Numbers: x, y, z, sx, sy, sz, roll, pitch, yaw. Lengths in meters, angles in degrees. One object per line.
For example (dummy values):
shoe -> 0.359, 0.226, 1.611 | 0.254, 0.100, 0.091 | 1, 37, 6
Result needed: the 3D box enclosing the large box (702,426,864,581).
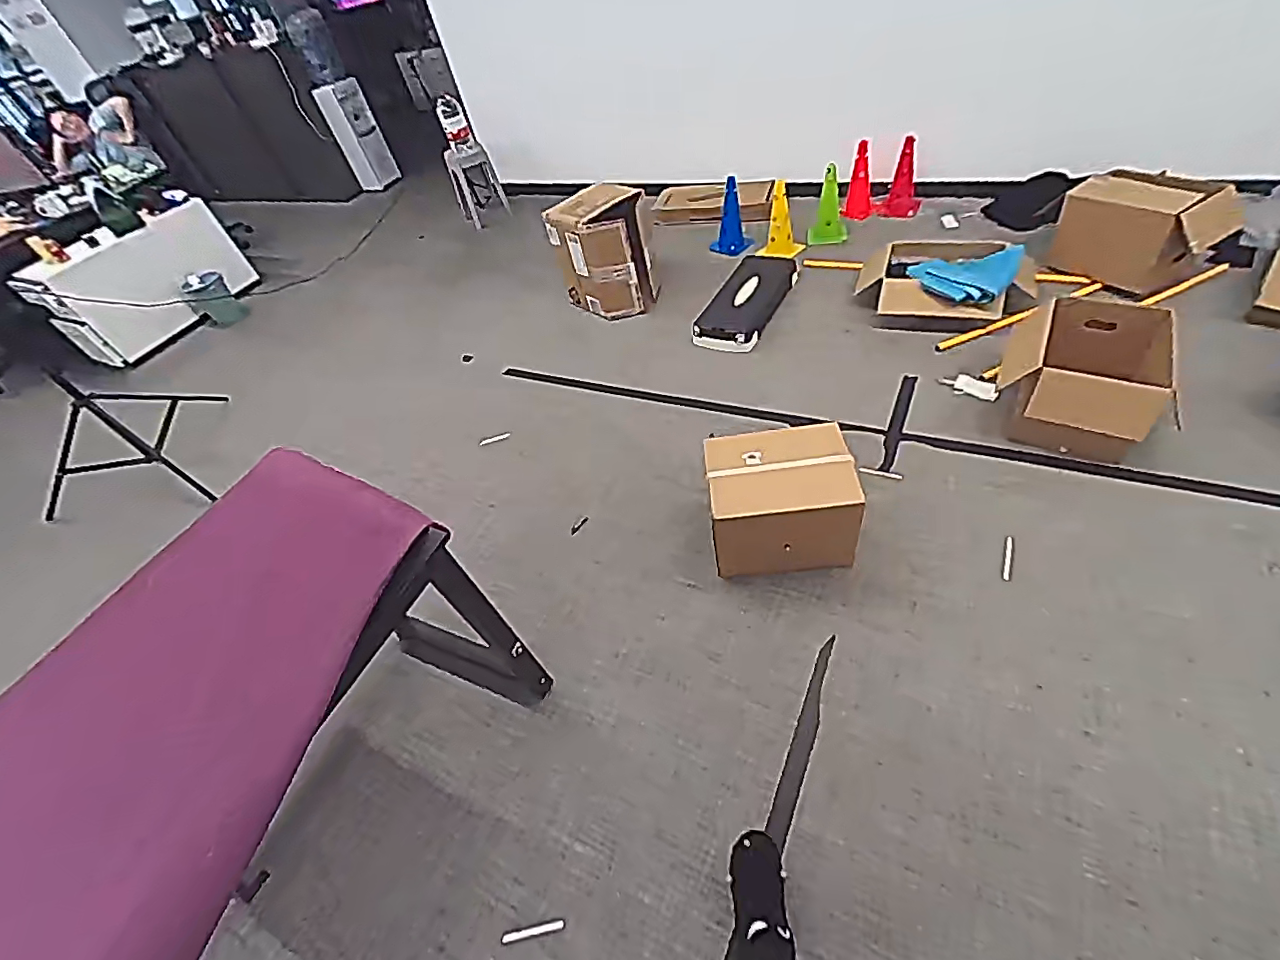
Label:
large box -> 0.417, 0.078, 1.635 | 0.408, 0.320, 0.320 | -8, 47, 8
